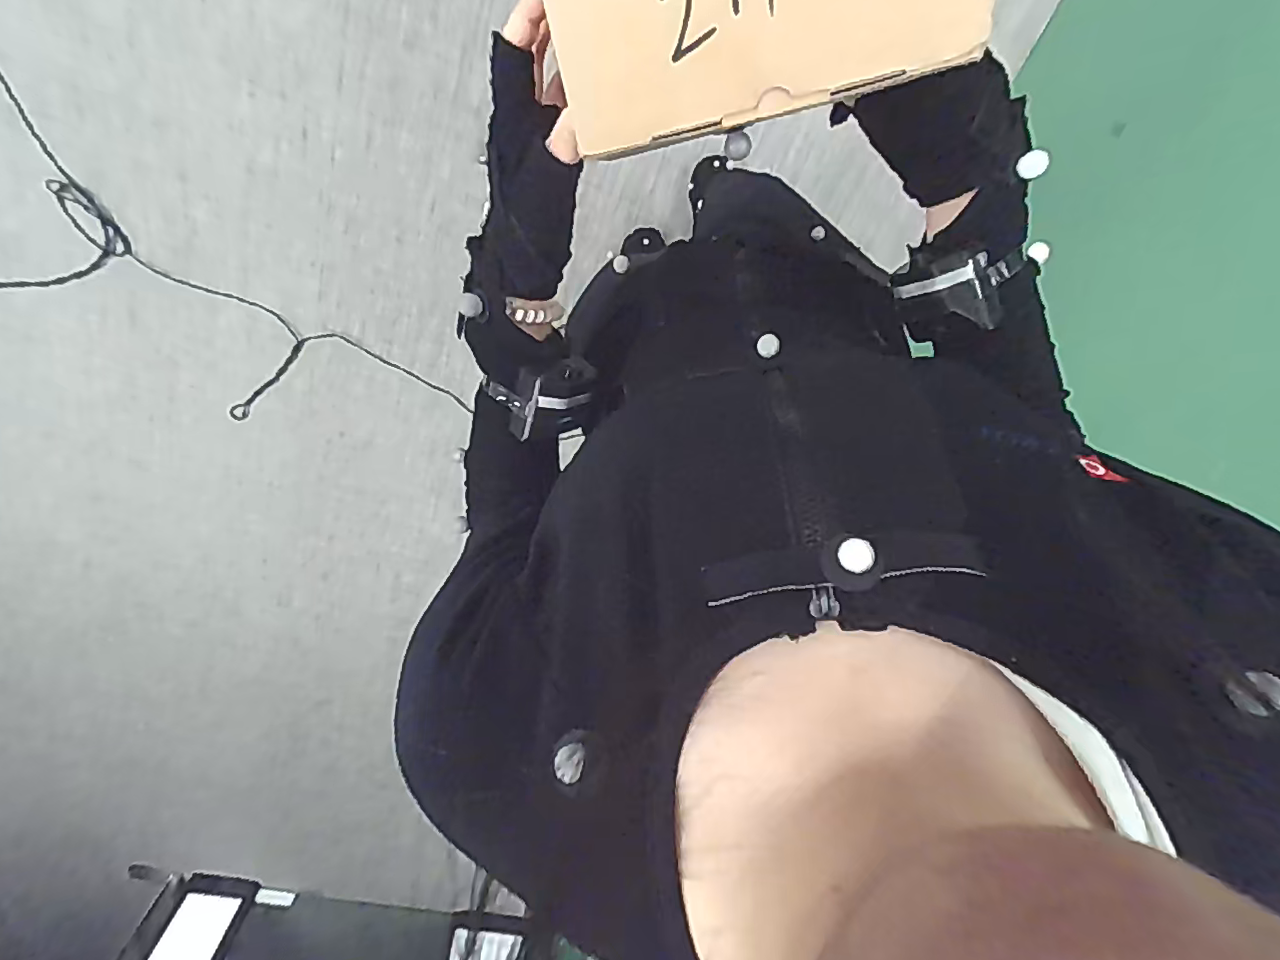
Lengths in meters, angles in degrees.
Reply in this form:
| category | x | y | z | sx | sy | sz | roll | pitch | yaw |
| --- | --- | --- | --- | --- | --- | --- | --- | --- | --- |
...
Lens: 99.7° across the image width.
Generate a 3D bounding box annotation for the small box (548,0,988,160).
| category | x | y | z | sx | sy | sz | roll | pitch | yaw |
| --- | --- | --- | --- | --- | --- | --- | --- | --- | --- |
| small box | 0.038 | -0.264 | 0.249 | 0.168 | 0.176 | 0.179 | -10 | 120 | 8 |
